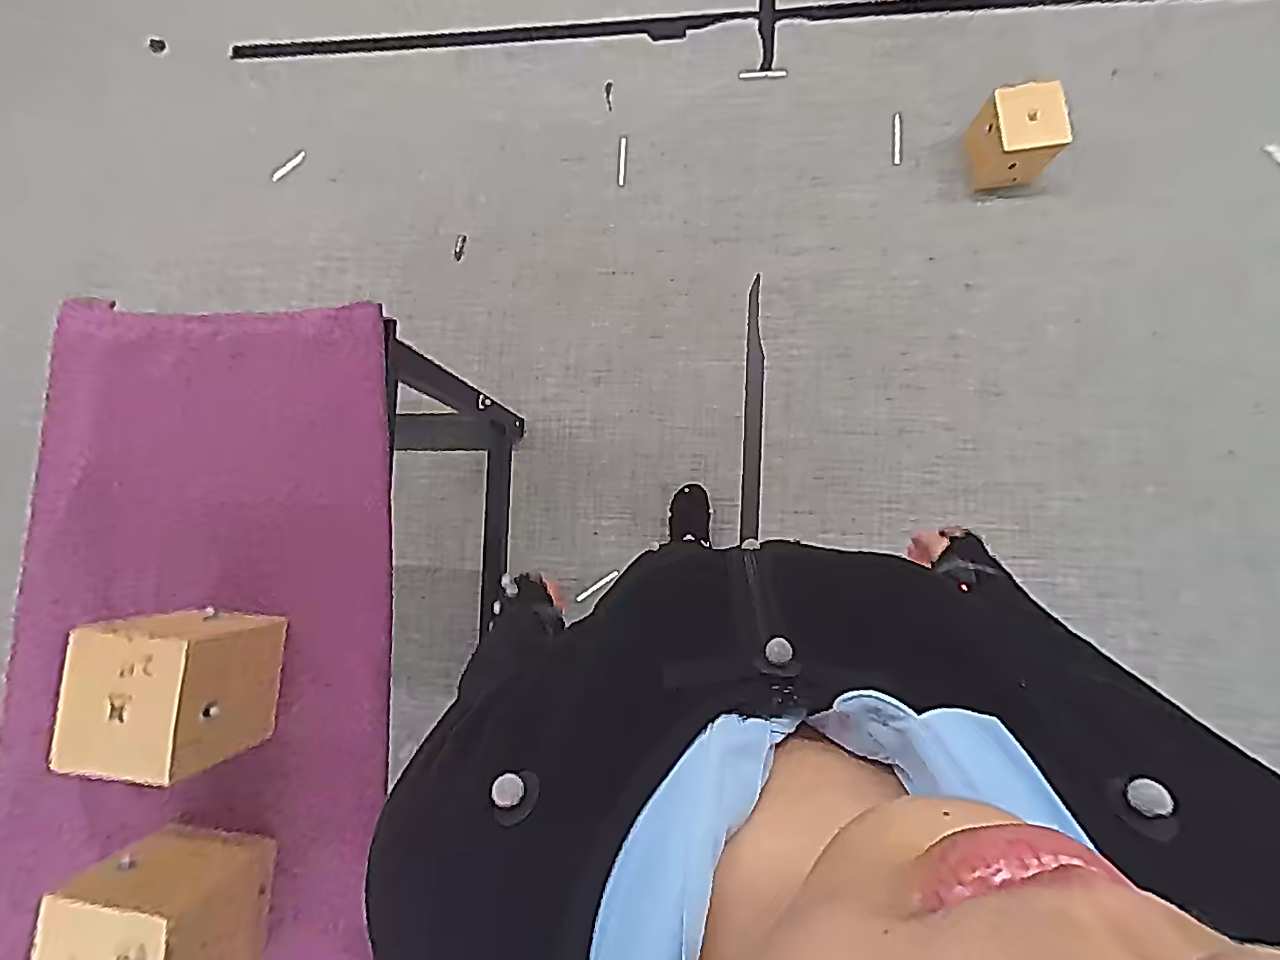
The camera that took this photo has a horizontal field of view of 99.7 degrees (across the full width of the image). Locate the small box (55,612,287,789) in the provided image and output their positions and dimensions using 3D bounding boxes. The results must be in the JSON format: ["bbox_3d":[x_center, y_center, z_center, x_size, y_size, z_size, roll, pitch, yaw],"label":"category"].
[{"bbox_3d":[-0.626,0.288,0.744,0.168,0.176,0.179,4,84,6],"label":"small box"}]

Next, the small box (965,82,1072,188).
[{"bbox_3d":[1.006,-0.912,1.452,0.168,0.176,0.179,-6,83,5],"label":"small box"}]
